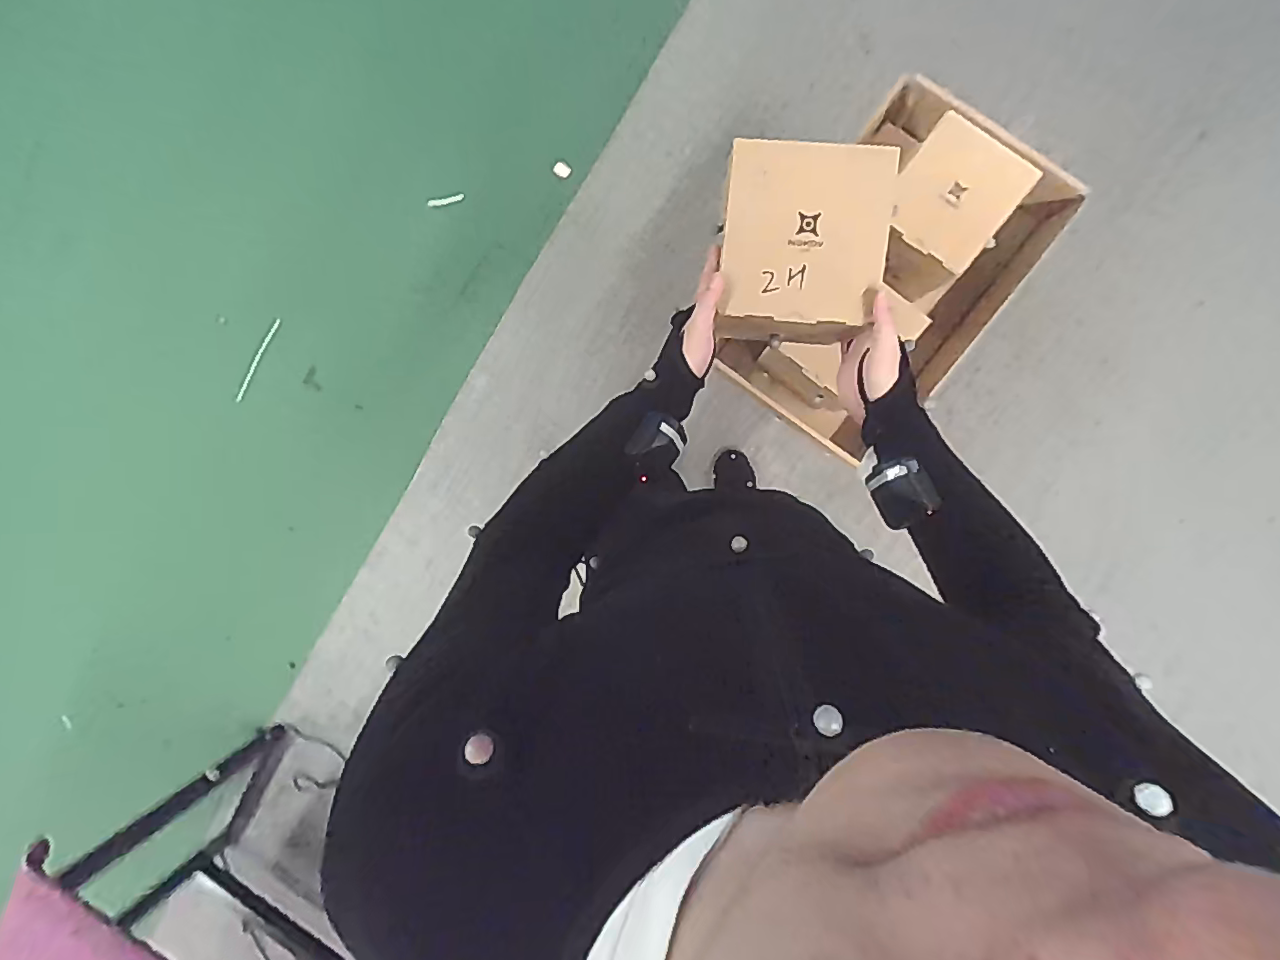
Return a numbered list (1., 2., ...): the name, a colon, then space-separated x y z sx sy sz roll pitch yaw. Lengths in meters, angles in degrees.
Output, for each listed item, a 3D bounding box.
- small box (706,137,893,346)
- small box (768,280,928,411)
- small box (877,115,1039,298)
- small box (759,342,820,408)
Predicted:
1. small box: 0.169 -0.261 0.630 0.168 0.176 0.179 6 98 4
2. small box: 0.333 -0.230 0.911 0.168 0.176 0.179 40 98 1
3. small box: 0.475 -0.427 0.876 0.168 0.176 0.179 37 101 2
4. small box: 0.352 -0.257 1.071 0.168 0.176 0.179 38 98 2
